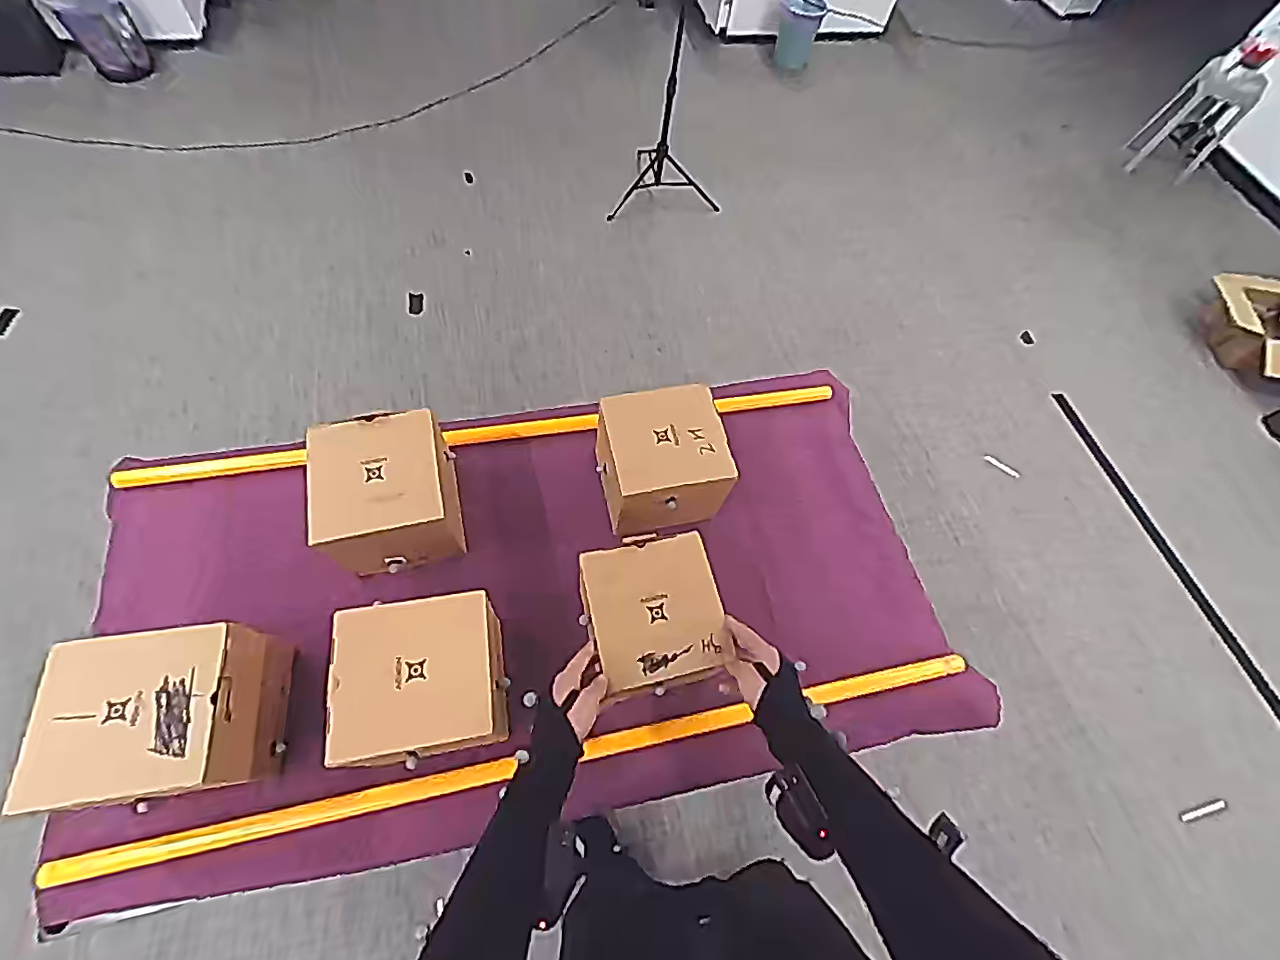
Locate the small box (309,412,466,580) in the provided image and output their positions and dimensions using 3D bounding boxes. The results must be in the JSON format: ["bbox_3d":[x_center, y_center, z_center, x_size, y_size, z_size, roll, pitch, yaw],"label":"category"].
[{"bbox_3d":[-0.360,0.027,0.790,0.168,0.176,0.179,-12,66,-11],"label":"small box"}]

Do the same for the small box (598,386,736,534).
[{"bbox_3d":[0.031,-0.026,0.861,0.179,0.176,0.168,-9,66,-11],"label":"small box"}]

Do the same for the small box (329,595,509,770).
[{"bbox_3d":[-0.264,0.257,0.685,0.179,0.176,0.168,-8,64,-9],"label":"small box"}]

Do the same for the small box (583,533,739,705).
[{"bbox_3d":[0.015,0.195,0.746,0.168,0.176,0.179,-10,64,-11],"label":"small box"}]

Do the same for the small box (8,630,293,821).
[{"bbox_3d":[-0.542,0.283,0.636,0.179,0.176,0.168,-6,64,-10],"label":"small box"}]
